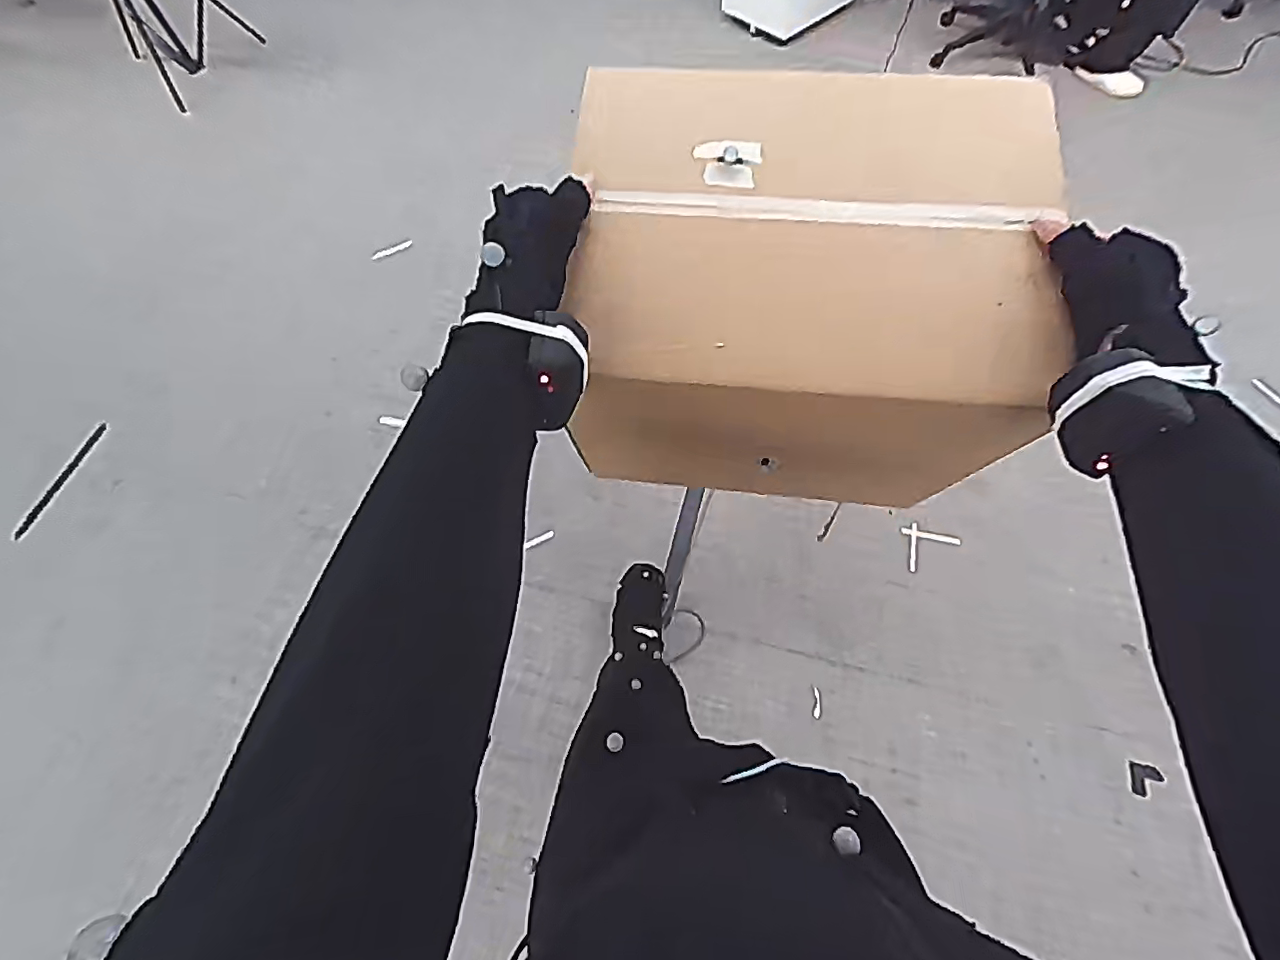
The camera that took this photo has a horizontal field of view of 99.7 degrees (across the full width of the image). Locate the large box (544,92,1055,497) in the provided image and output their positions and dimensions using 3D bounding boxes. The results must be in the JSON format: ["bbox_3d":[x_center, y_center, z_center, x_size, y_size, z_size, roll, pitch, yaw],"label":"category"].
[{"bbox_3d":[0.147,-0.175,0.608,0.408,0.320,0.320,5,73,7],"label":"large box"}]
